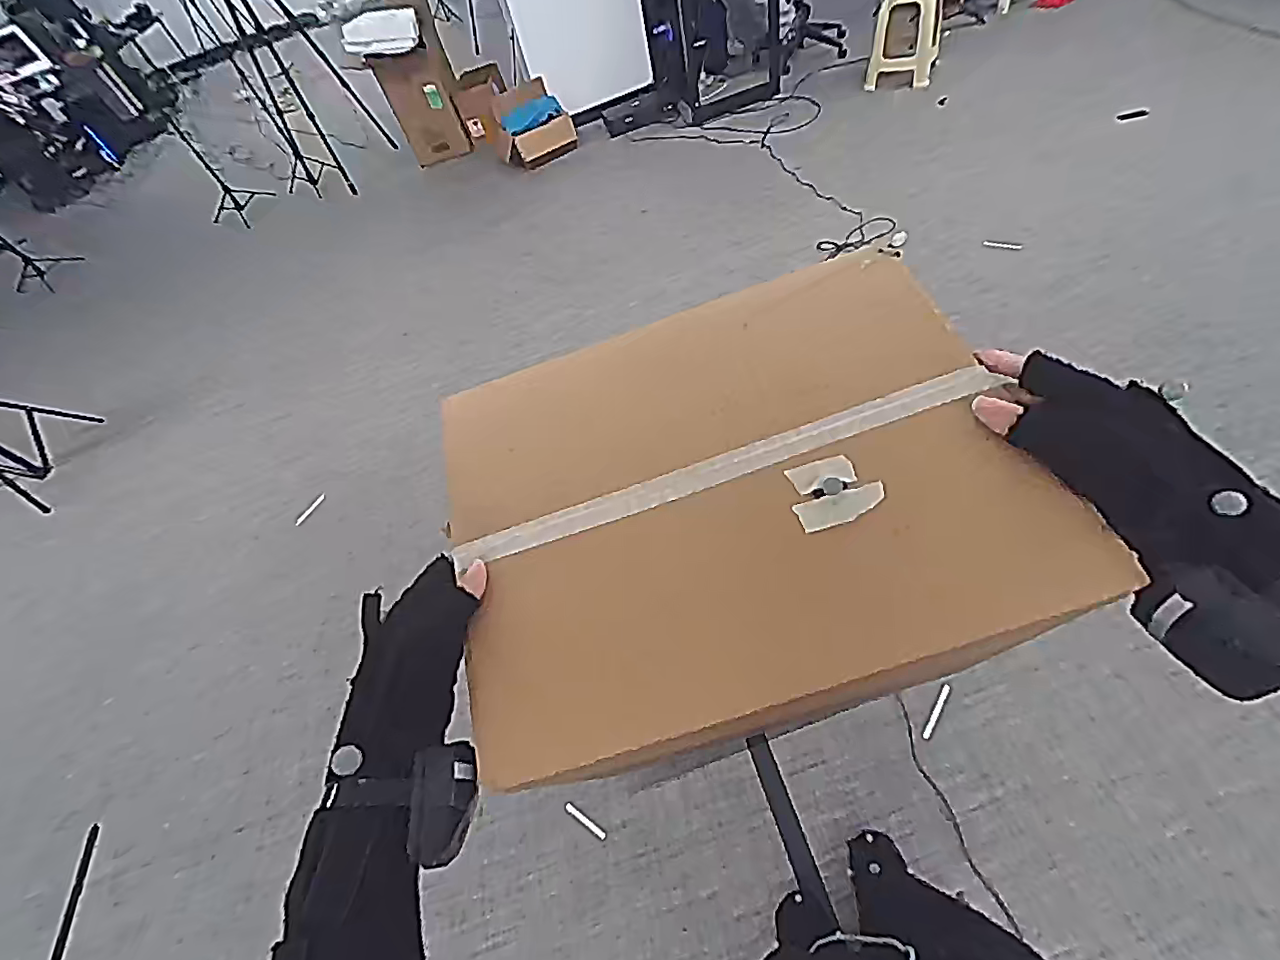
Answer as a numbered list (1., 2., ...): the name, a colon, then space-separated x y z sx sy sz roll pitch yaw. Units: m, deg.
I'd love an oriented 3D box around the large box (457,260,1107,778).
1. large box: 0.088 0.065 0.537 0.408 0.320 0.320 -19 61 2
